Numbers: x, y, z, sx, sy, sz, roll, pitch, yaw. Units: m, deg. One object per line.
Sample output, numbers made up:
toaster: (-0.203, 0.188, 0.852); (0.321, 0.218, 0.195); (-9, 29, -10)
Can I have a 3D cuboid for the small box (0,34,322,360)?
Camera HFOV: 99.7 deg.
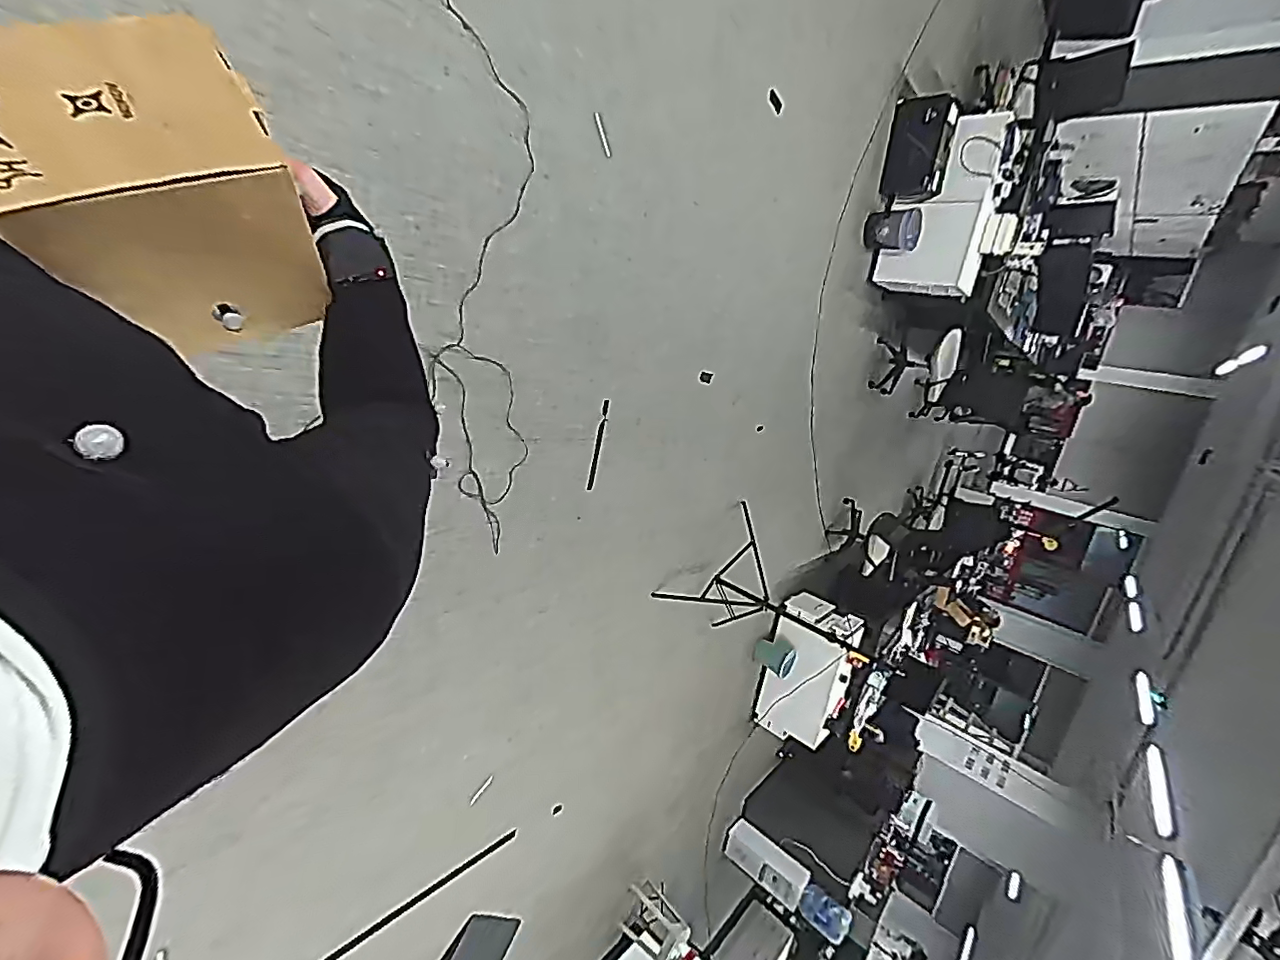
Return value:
small box: (-0.401, -0.234, 0.464); (0.179, 0.168, 0.176); (-28, 167, -26)
